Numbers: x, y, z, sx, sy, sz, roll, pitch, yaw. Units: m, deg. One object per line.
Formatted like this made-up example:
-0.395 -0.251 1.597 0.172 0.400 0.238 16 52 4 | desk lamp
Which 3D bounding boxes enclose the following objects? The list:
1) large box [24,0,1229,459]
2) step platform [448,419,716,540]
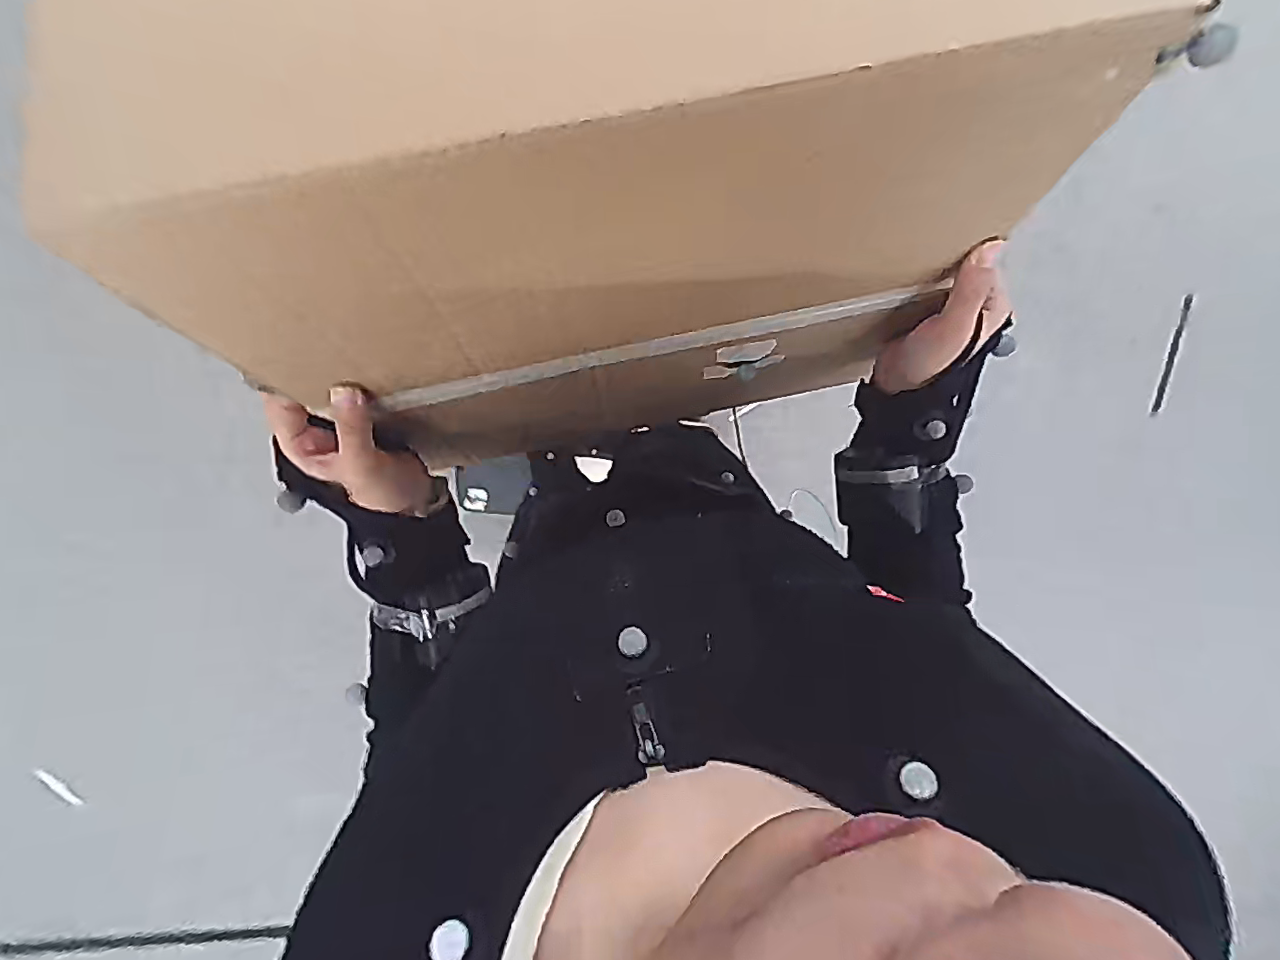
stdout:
-0.018 -0.238 0.339 0.408 0.320 0.320 -13 77 -2 | large box
-0.145 -0.035 1.432 0.684 0.204 0.286 10 98 -10 | step platform
